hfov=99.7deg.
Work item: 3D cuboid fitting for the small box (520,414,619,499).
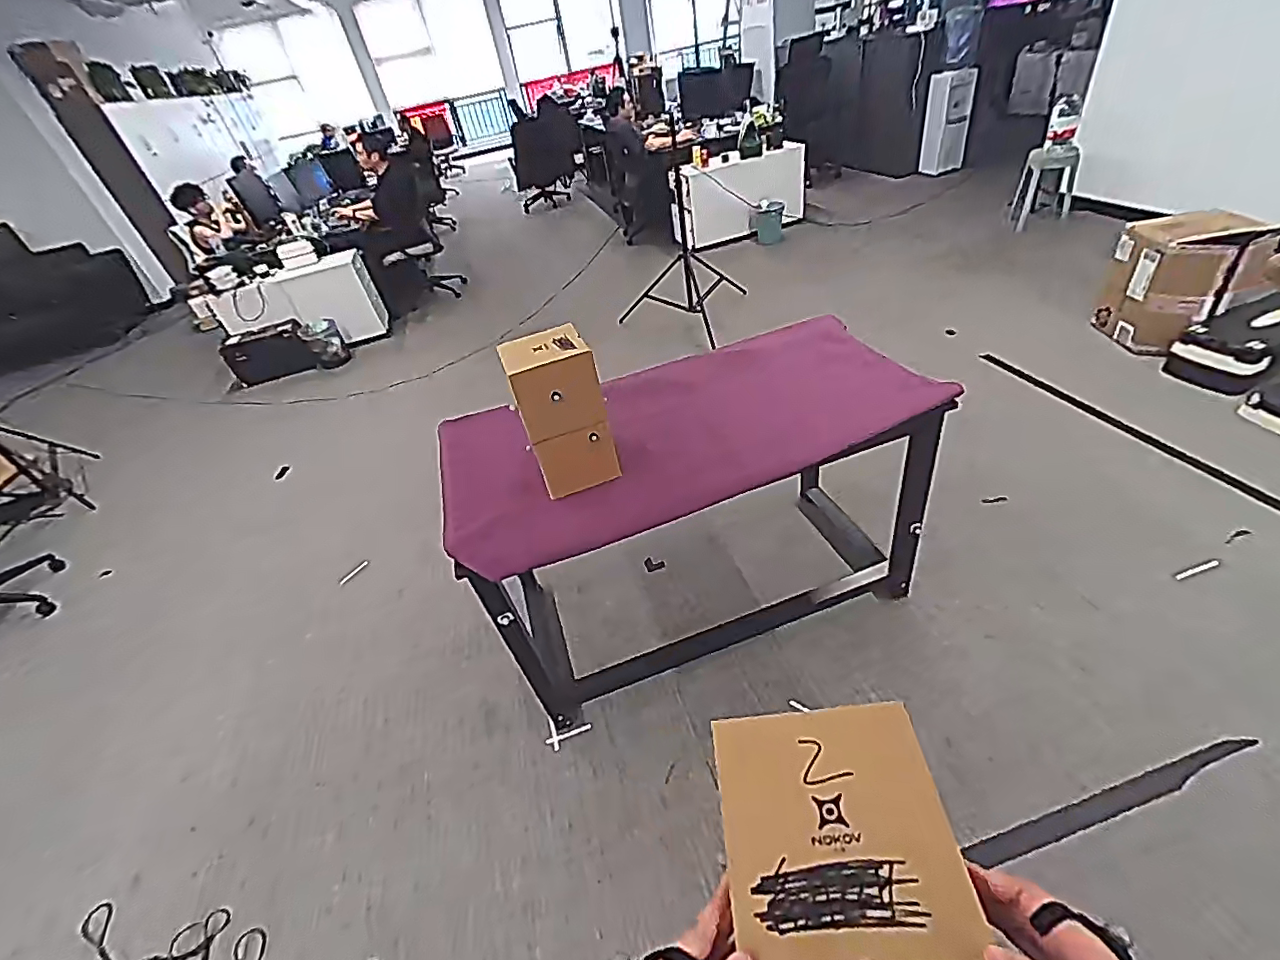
[{"bbox_3d":[-0.164,-0.081,1.280,0.179,0.176,0.168,-20,39,-10],"label":"small box"}]

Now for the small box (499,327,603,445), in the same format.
[{"bbox_3d":[-0.188,-0.204,1.175,0.179,0.176,0.168,-20,39,-10],"label":"small box"}]
